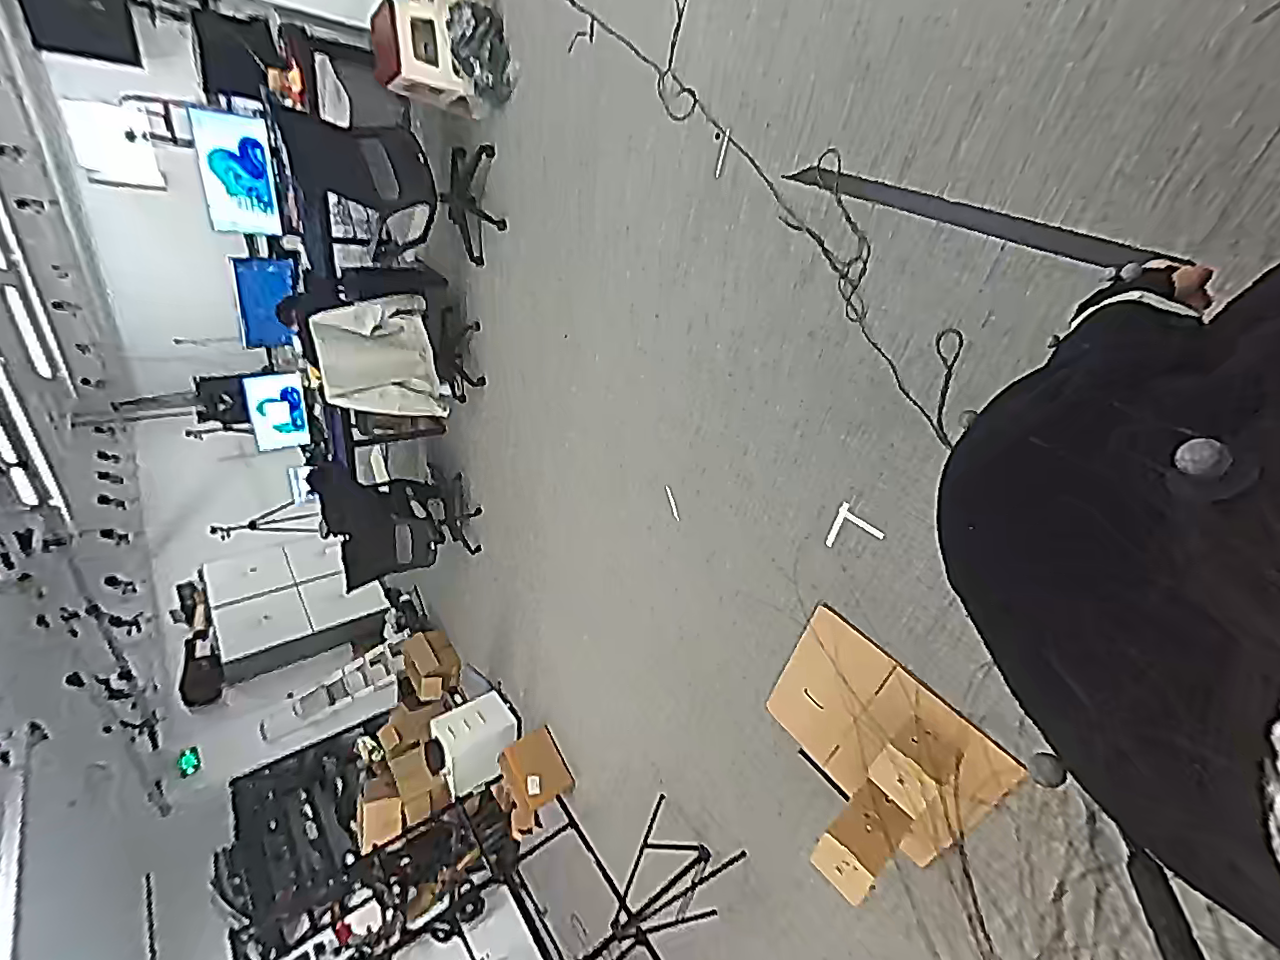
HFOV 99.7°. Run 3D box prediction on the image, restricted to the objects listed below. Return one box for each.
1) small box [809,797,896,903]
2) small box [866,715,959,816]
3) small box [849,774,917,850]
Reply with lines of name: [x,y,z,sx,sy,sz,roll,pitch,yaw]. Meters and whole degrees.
small box: [0.654,1.128,1.659,0.168,0.176,0.179,35,128,38]
small box: [0.821,0.847,1.620,0.168,0.176,0.179,39,131,38]
small box: [0.777,1.088,1.761,0.168,0.176,0.179,34,127,40]
